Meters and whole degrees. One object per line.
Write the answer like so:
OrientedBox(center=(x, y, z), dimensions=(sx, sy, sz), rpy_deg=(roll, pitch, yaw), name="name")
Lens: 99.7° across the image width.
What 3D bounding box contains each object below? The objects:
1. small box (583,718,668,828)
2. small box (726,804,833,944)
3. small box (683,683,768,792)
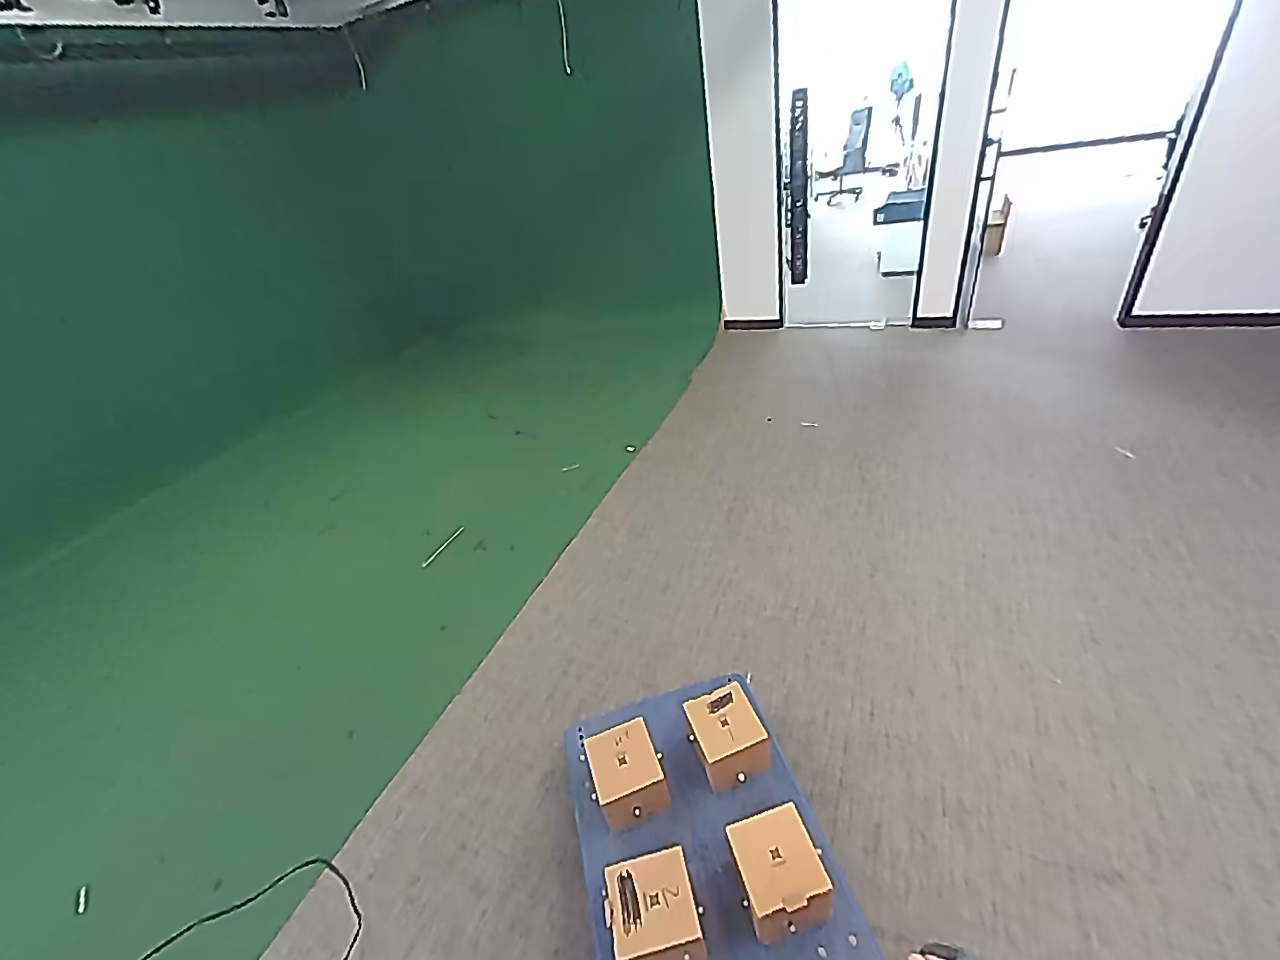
OrientedBox(center=(-0.035, 0.762, 1.398), dimensions=(0.168, 0.176, 0.179), rpy_deg=(-17, 36, -10), name="small box")
OrientedBox(center=(0.297, 0.857, 1.179), dimensions=(0.168, 0.176, 0.179), rpy_deg=(-16, 36, -7), name="small box")
OrientedBox(center=(0.226, 0.684, 1.437), dimensions=(0.168, 0.176, 0.179), rpy_deg=(-18, 37, -10), name="small box")
